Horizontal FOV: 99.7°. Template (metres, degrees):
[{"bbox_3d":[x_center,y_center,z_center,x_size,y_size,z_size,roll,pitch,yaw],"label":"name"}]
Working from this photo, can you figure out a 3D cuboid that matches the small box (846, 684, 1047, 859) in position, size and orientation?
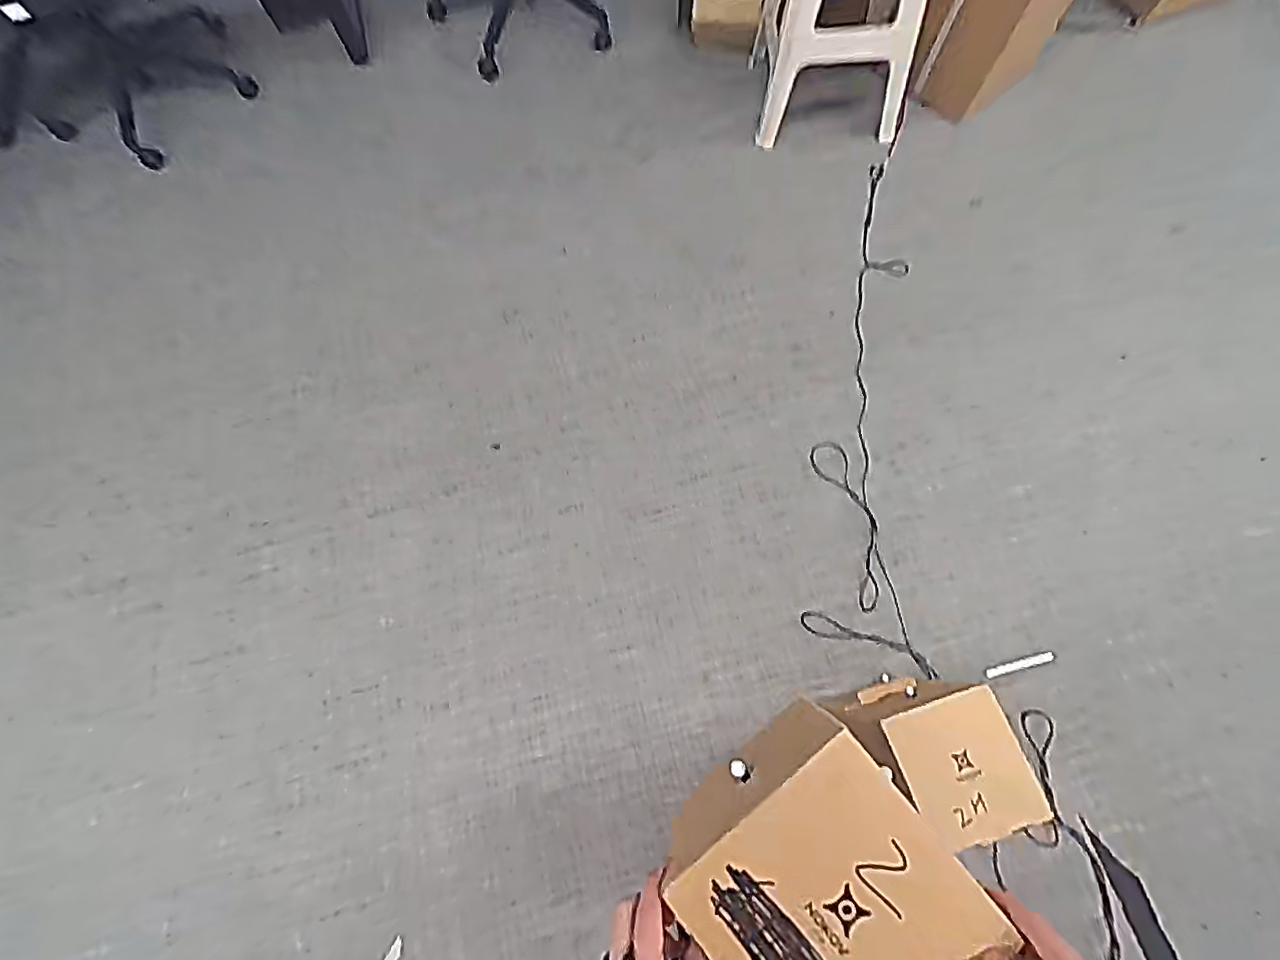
[{"bbox_3d":[0.432,0.414,0.800,0.168,0.176,0.179,-17,71,-2],"label":"small box"}]

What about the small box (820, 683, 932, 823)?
[{"bbox_3d":[0.440,0.469,0.956,0.168,0.176,0.179,-16,71,-2],"label":"small box"}]
